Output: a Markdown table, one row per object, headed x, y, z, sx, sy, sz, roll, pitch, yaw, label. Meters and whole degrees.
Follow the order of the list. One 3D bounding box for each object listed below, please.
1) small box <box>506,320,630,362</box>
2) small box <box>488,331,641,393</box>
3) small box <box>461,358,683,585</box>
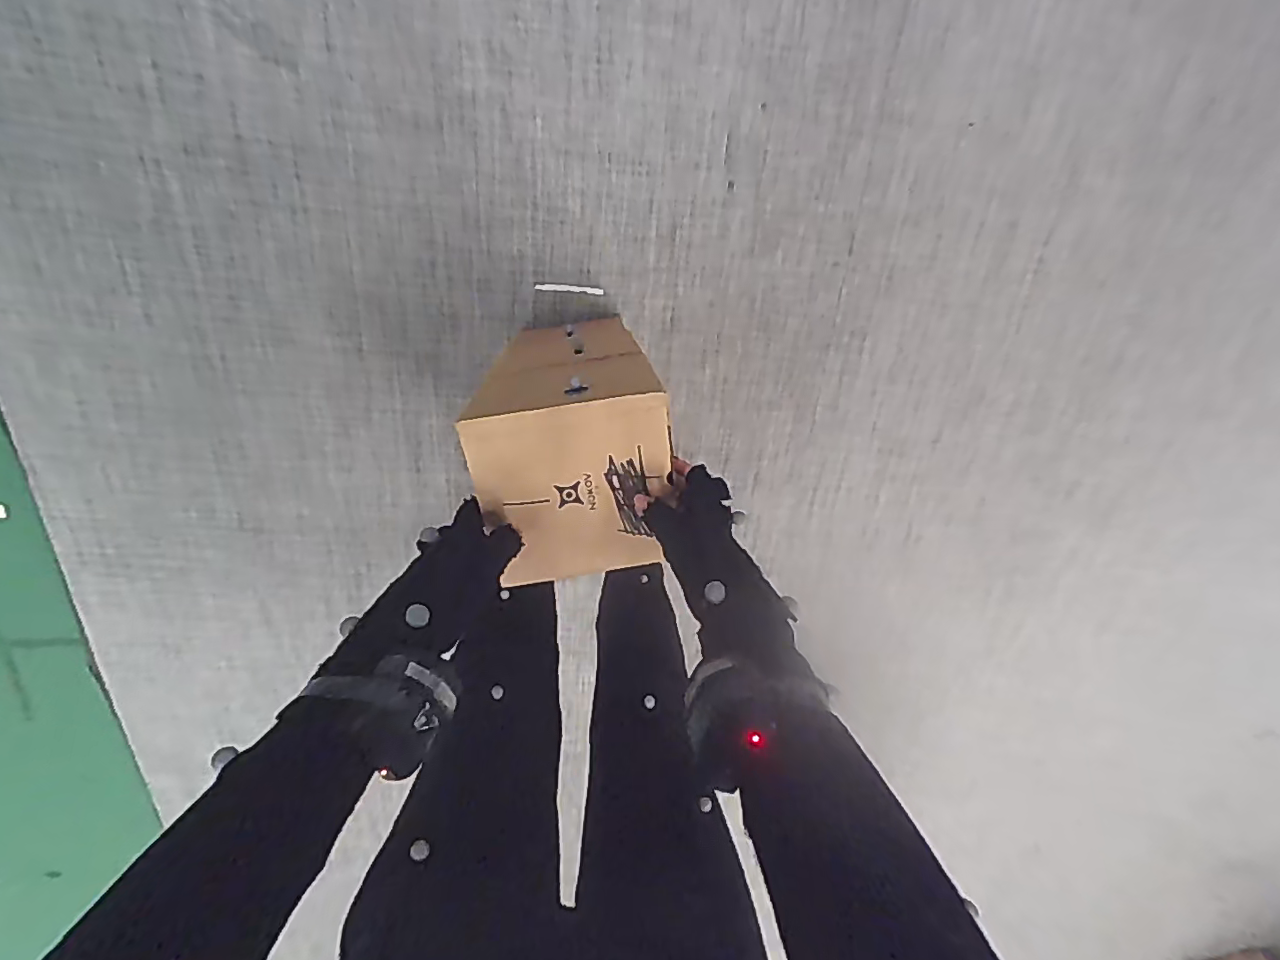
| x | y | z | sx | sy | sz | roll | pitch | yaw | label |
| --- | --- | --- | --- | --- | --- | --- | --- | --- | --- |
| -0.097 | -0.149 | 0.851 | 0.179 | 0.176 | 0.168 | -10 | 114 | 0 | small box |
| -0.080 | -0.085 | 0.703 | 0.179 | 0.176 | 0.168 | -12 | 116 | 0 | small box |
| -0.061 | -0.020 | 0.551 | 0.179 | 0.176 | 0.168 | -9 | 114 | -2 | small box |
